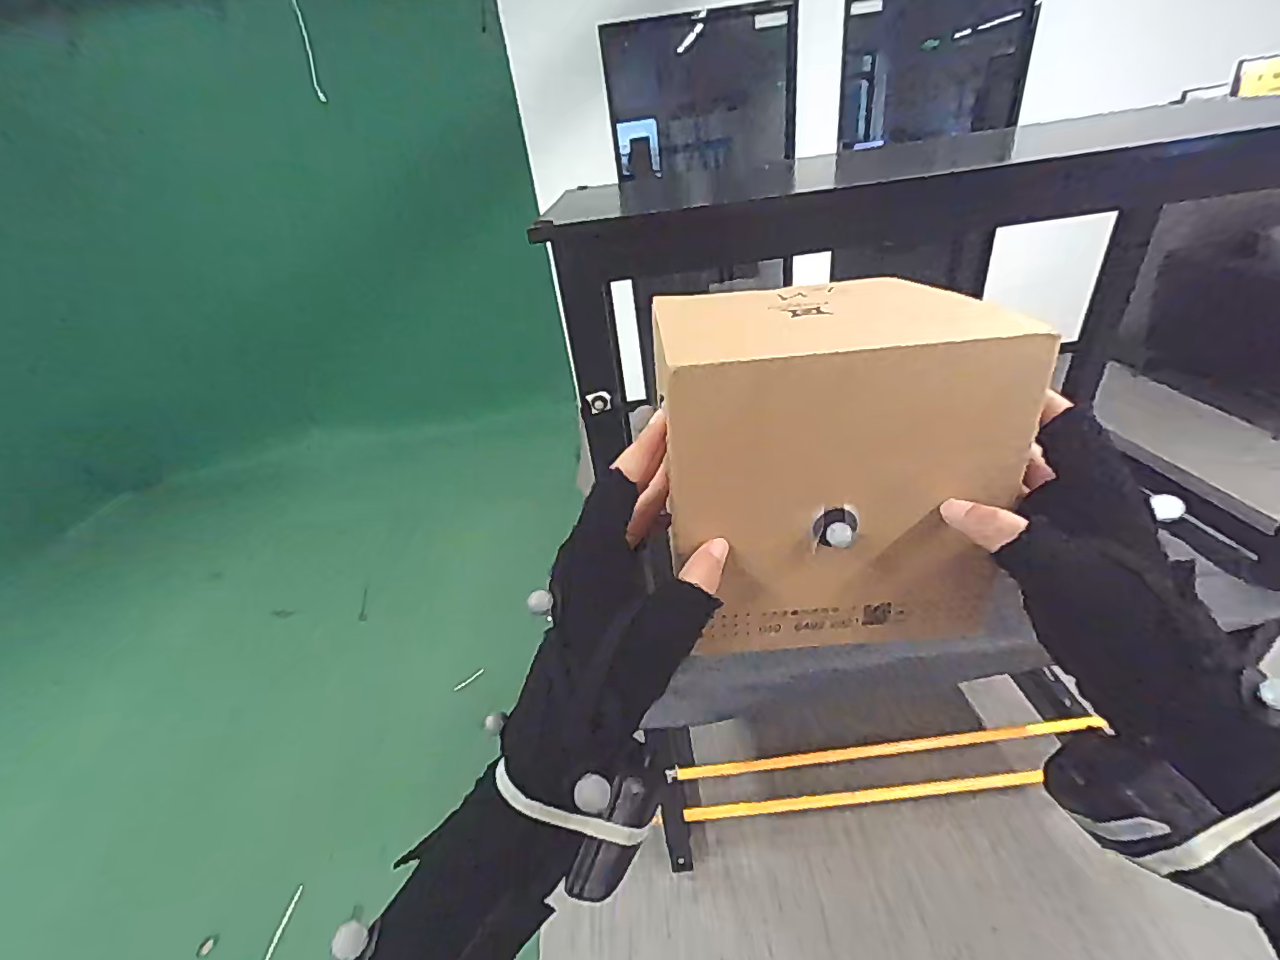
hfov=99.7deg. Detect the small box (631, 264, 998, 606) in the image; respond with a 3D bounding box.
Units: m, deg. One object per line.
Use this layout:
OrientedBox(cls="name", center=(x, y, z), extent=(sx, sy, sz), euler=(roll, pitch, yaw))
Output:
OrientedBox(cls="small box", center=(0.085, -0.033, 0.348), extent=(0.168, 0.176, 0.179), euler=(-4, 27, 2))
